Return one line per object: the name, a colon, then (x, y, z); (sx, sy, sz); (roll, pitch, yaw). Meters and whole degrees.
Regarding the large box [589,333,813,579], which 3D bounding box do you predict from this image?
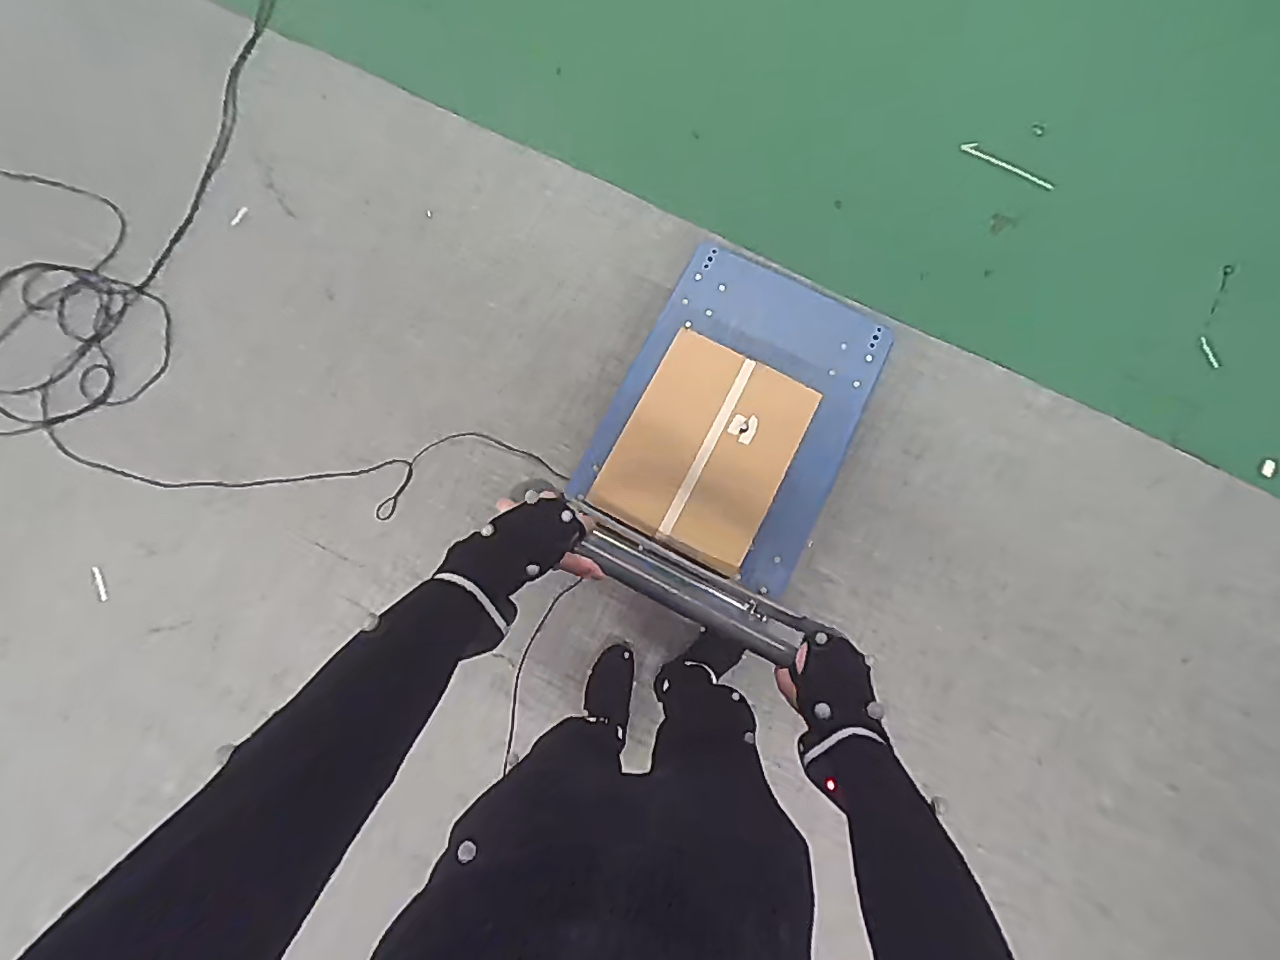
large box: (0.118, -0.028, 1.190); (0.320, 0.320, 0.408); (27, 79, 3)
